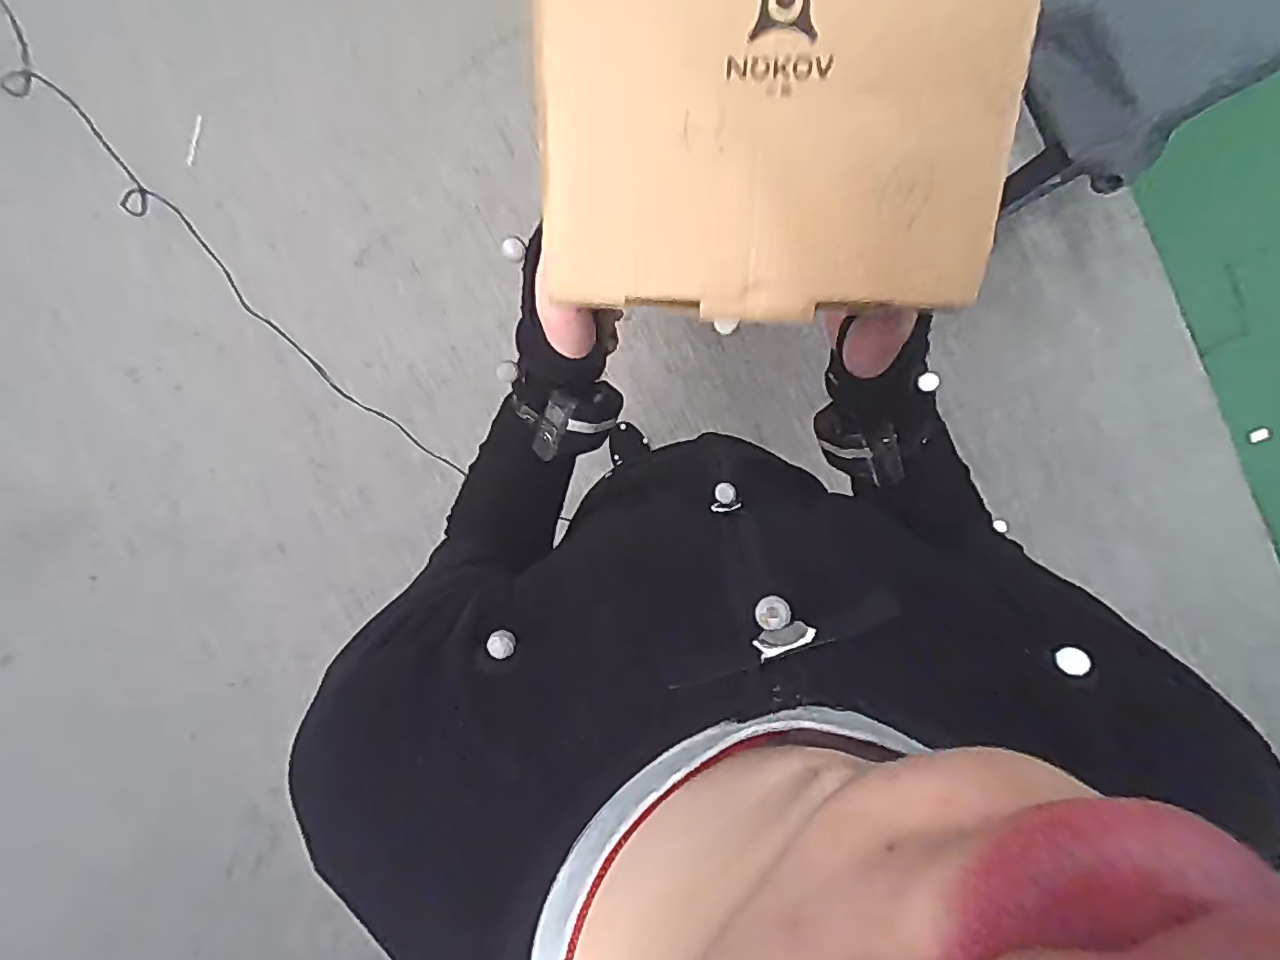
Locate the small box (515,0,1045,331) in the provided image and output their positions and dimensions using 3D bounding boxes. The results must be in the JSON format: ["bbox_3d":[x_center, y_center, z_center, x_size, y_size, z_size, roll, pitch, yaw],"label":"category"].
[{"bbox_3d":[0.044,-0.170,0.245,0.168,0.176,0.179,1,113,0],"label":"small box"}]
